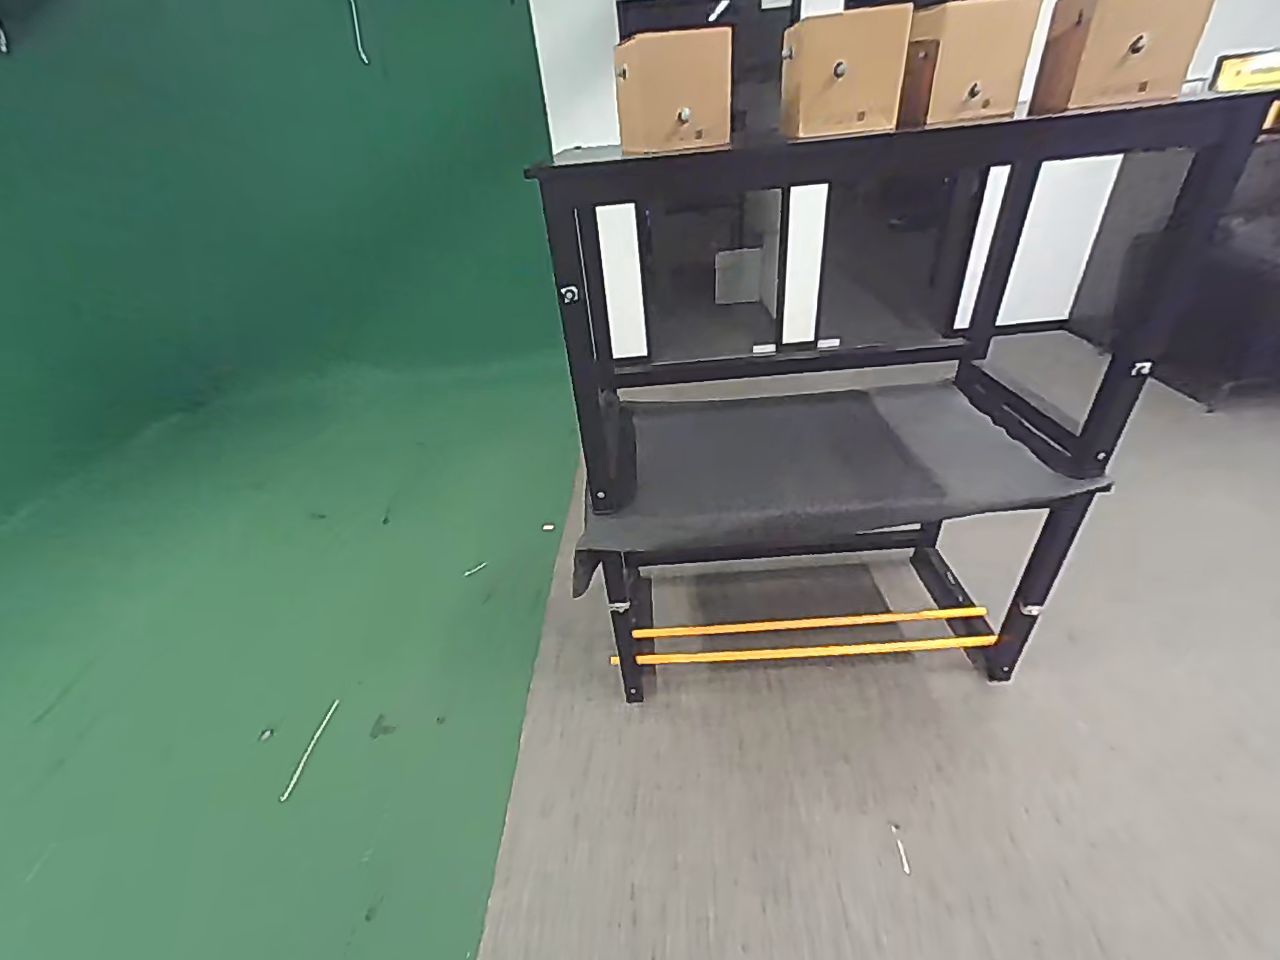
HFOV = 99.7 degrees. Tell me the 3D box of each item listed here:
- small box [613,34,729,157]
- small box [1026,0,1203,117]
[{"bbox_3d":[0.053,-0.698,0.995,0.168,0.176,0.179,-13,35,-10],"label":"small box"},{"bbox_3d":[0.817,-0.745,0.944,0.168,0.176,0.179,2,34,12],"label":"small box"}]
